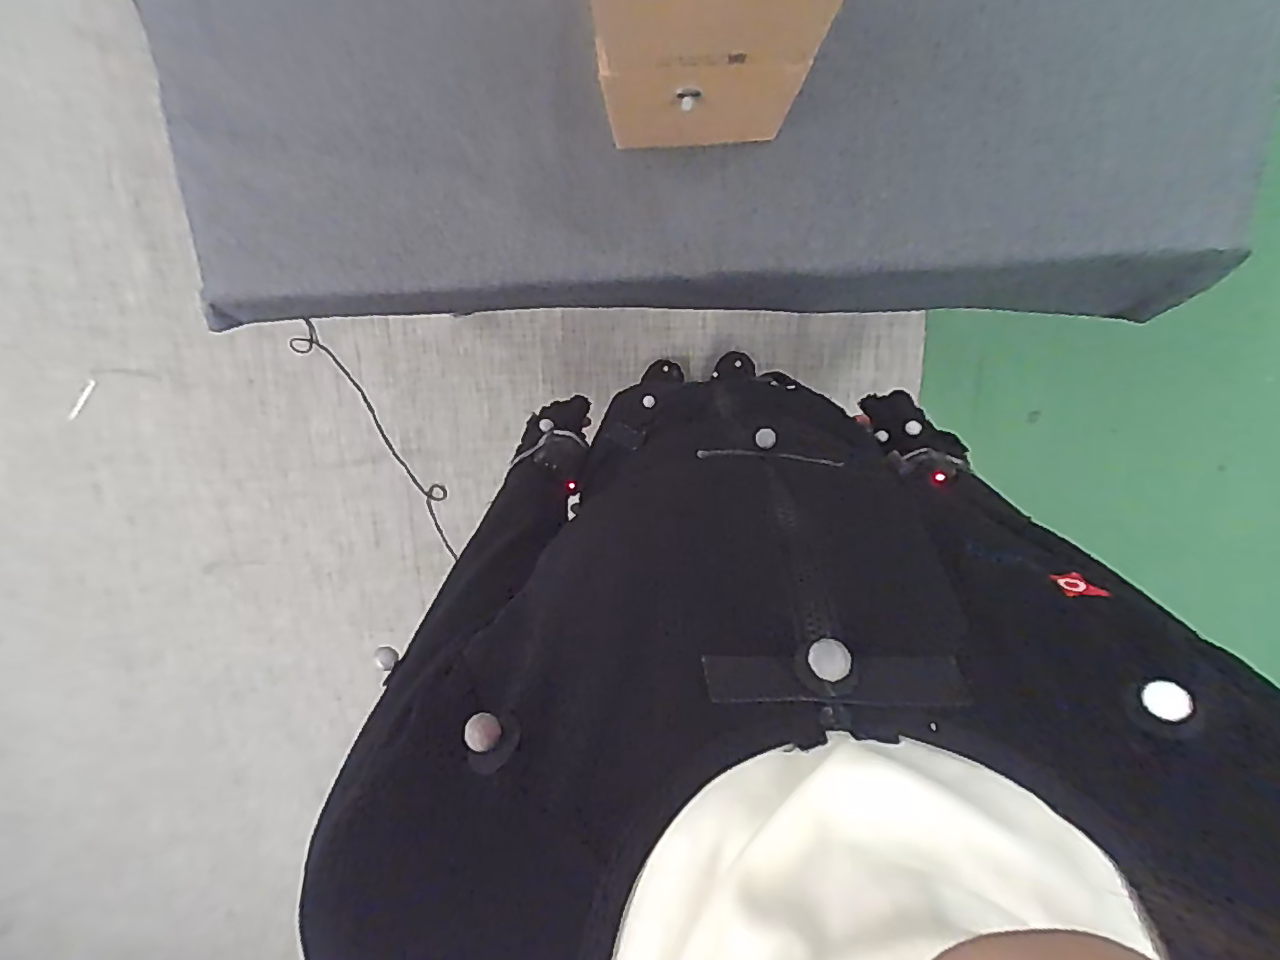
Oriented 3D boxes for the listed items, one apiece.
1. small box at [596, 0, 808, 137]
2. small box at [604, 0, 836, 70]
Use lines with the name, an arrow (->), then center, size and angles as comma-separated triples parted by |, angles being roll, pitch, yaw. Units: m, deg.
small box -> 0.054, -0.444, 0.506 | 0.179, 0.176, 0.168 | -1, 104, 3
small box -> 0.052, -0.409, 0.349 | 0.168, 0.176, 0.179 | -3, 104, 3
